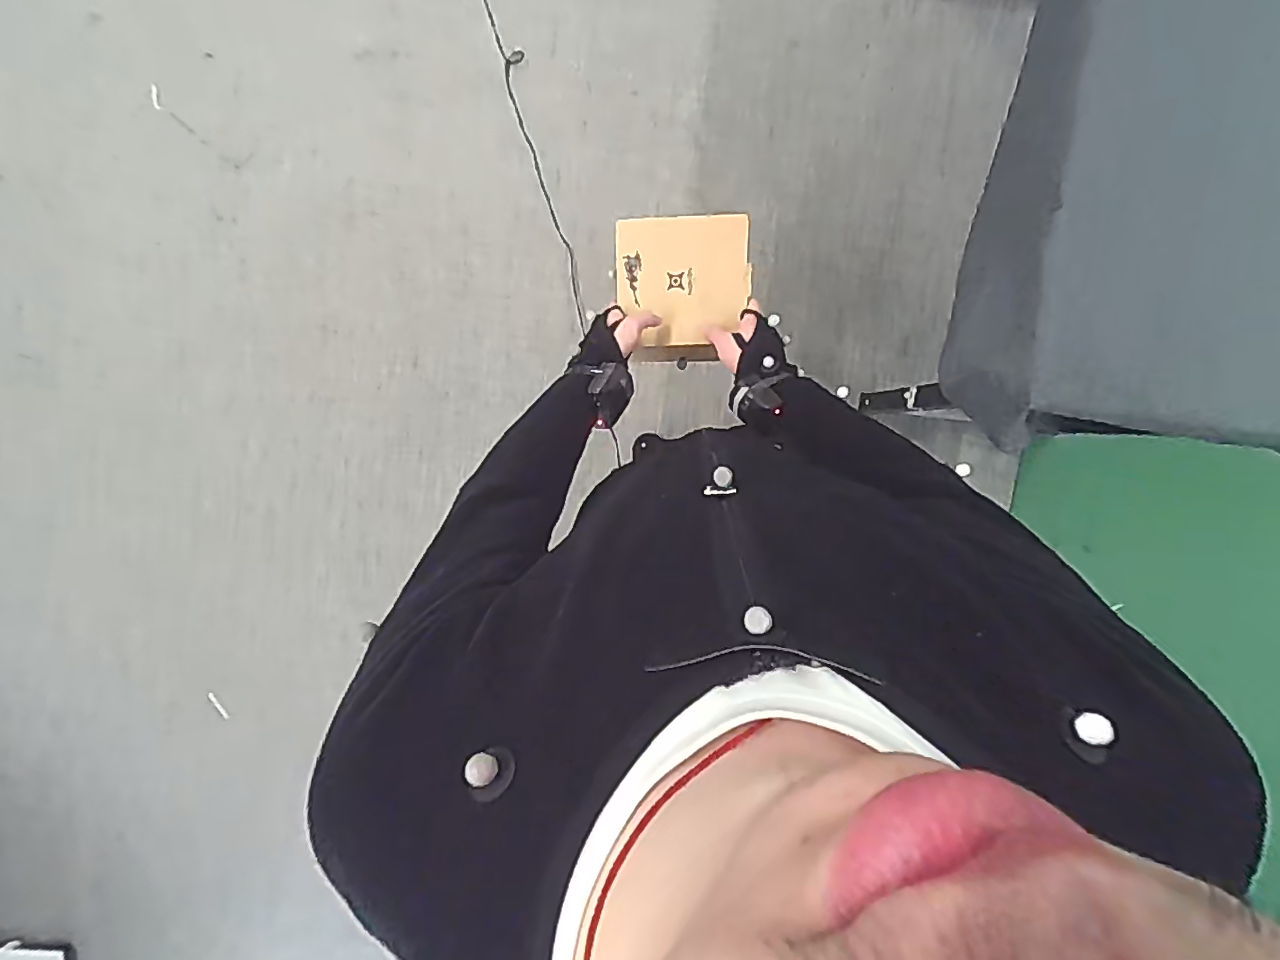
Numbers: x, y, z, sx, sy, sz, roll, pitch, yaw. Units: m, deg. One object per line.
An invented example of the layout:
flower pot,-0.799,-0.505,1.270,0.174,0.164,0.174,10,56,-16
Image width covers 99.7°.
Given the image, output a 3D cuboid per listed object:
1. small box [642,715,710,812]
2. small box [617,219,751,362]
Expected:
small box,0.100,0.817,1.569,0.168,0.176,0.179,9,96,-2
small box,0.061,-0.266,0.789,0.179,0.176,0.168,0,96,3
